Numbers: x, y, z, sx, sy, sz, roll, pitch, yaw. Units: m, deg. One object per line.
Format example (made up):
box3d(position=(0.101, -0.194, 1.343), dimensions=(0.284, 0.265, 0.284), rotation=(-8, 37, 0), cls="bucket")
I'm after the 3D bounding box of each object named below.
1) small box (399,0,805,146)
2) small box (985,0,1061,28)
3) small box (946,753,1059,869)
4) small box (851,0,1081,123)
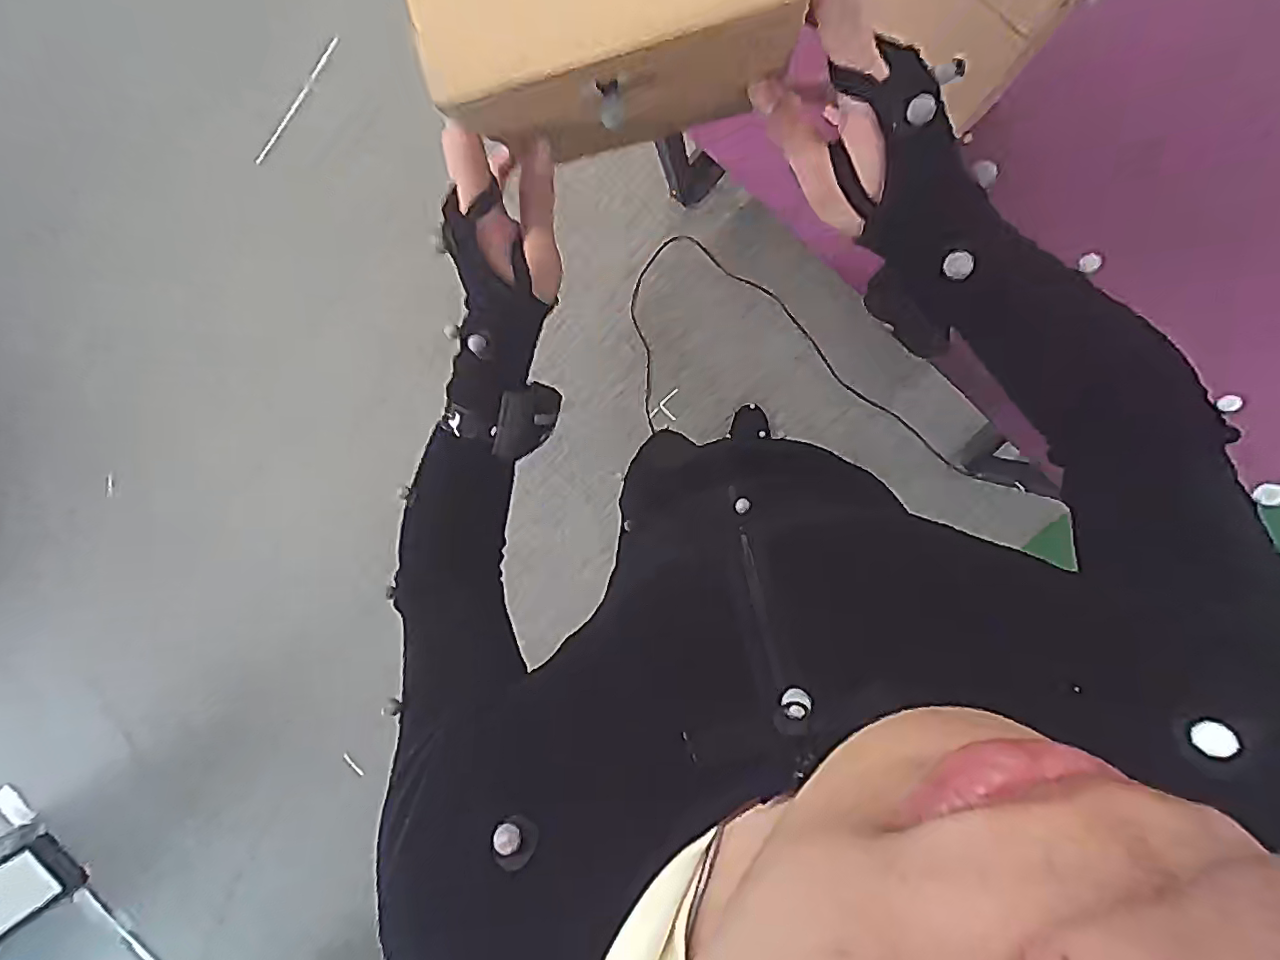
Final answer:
box3d(position=(-0.018, -0.293, 0.274), dimensions=(0.179, 0.176, 0.168), rotation=(-7, 110, 13), cls="small box")
box3d(position=(0.325, -0.498, 0.390), dimensions=(0.168, 0.176, 0.179), rotation=(43, 102, 3), cls="small box")
box3d(position=(0.983, 0.905, 1.492), dimensions=(0.168, 0.176, 0.179), rotation=(46, 102, 3), cls="small box")
box3d(position=(0.349, -0.511, 0.551), dimensions=(0.179, 0.176, 0.168), rotation=(44, 101, 3), cls="small box")
